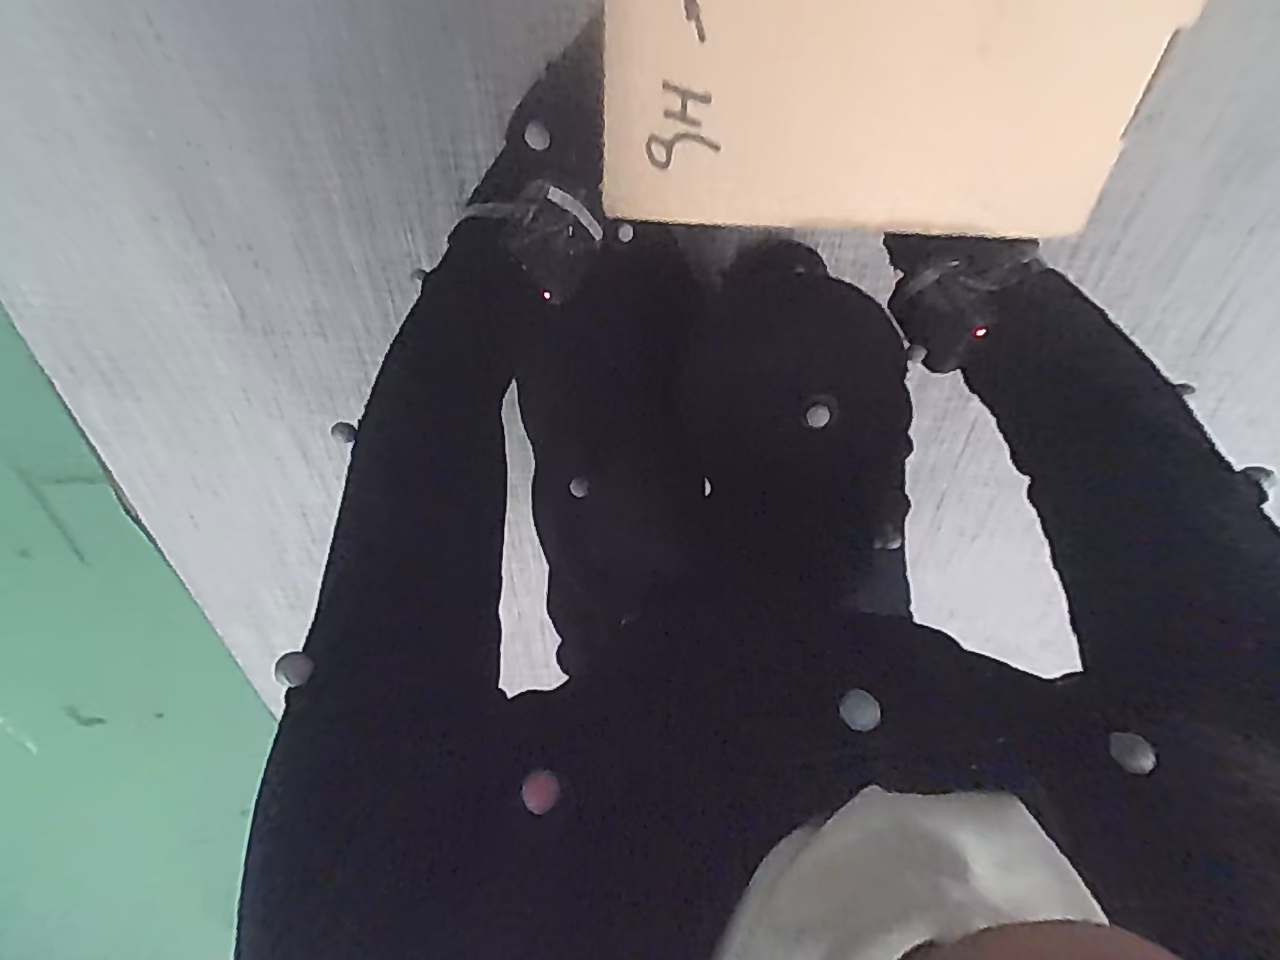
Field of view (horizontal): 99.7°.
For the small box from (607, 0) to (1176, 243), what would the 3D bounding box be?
[{"bbox_3d":[0.079,-0.207,0.220,0.179,0.176,0.168,3,126,-1],"label":"small box"}]
